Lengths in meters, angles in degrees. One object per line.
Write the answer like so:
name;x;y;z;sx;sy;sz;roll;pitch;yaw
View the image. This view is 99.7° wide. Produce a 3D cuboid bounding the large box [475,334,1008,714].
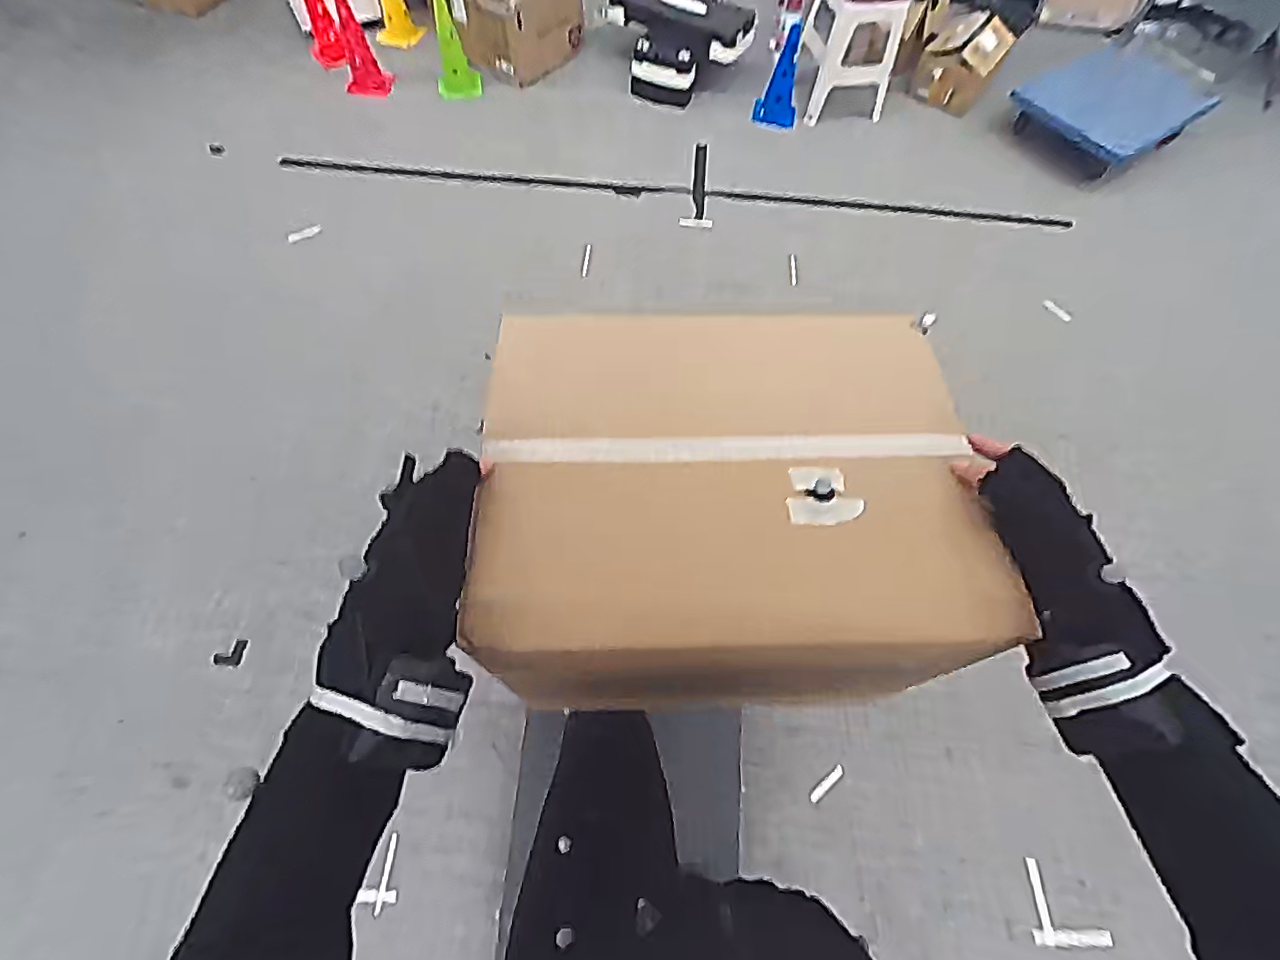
large box;0.067;0.062;0.596;0.408;0.320;0.320;-1;59;-2
